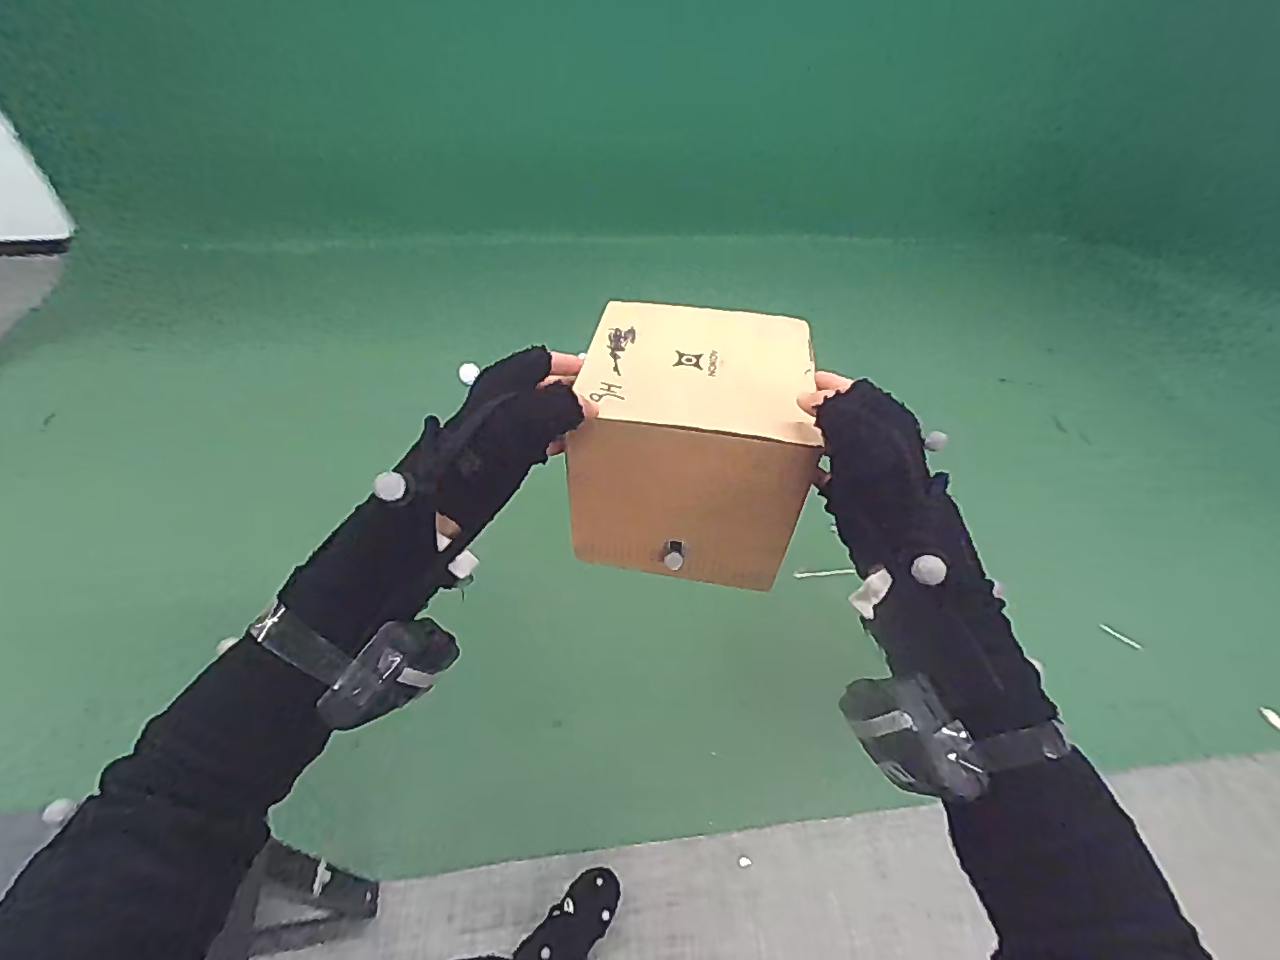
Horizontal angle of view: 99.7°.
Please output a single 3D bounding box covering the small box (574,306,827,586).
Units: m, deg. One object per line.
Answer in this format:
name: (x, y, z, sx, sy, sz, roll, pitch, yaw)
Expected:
small box: (0.049, -0.027, 0.475, 0.179, 0.176, 0.168, 9, 45, 5)
